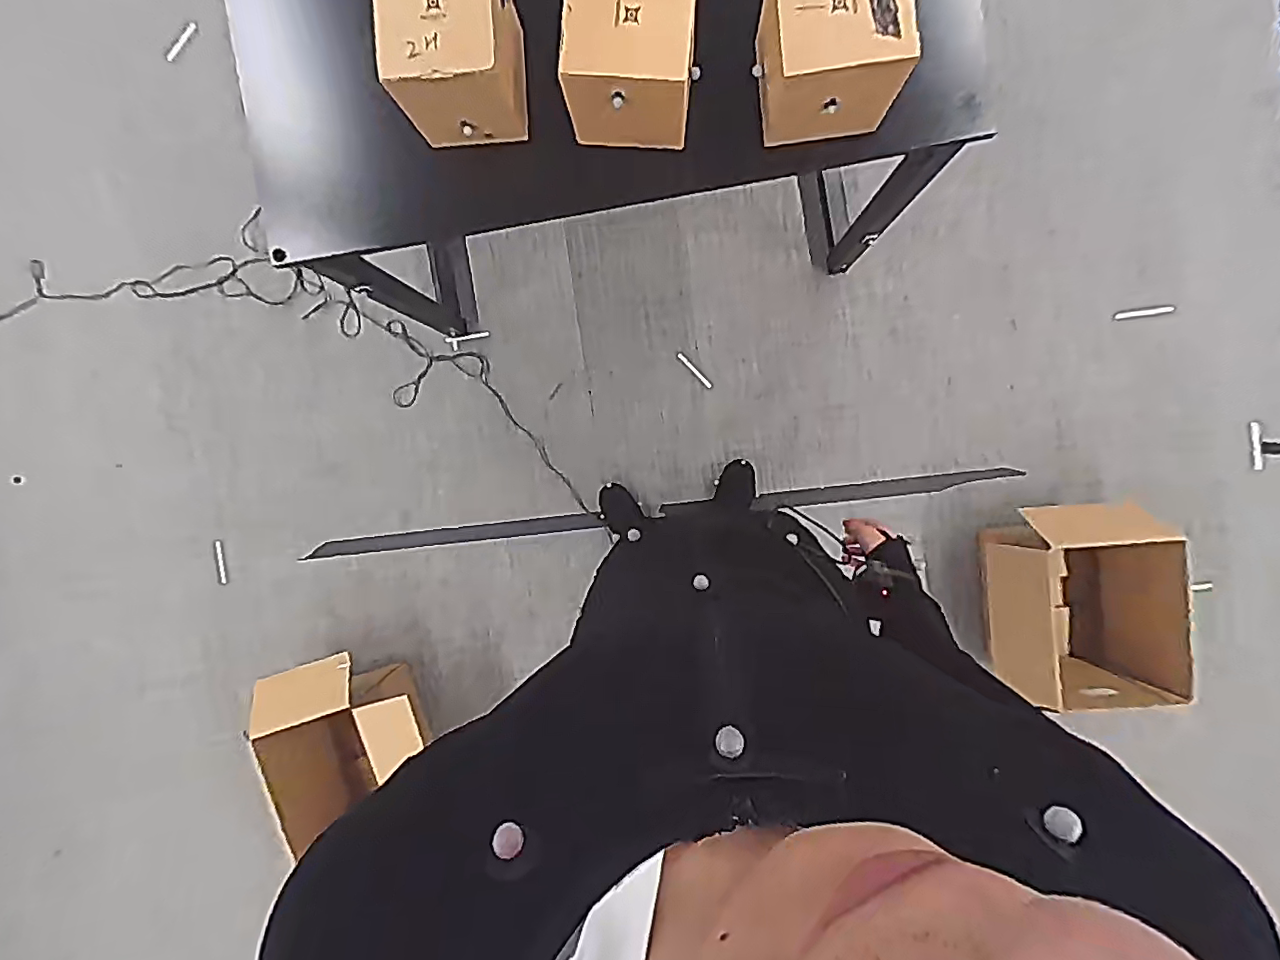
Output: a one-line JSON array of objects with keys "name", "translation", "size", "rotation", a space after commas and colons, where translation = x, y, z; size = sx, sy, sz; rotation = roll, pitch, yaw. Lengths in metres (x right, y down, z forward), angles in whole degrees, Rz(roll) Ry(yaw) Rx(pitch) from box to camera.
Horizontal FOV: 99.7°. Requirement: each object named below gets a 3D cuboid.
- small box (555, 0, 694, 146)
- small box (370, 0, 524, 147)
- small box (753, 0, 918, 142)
[{"name": "small box", "translation": [-0.015, -0.617, 0.789], "size": [0.179, 0.176, 0.168], "rotation": [5, 93, 4]}, {"name": "small box", "translation": [-0.277, -0.634, 0.804], "size": [0.168, 0.176, 0.179], "rotation": [-3, 94, 4]}, {"name": "small box", "translation": [0.265, -0.618, 0.768], "size": [0.179, 0.176, 0.168], "rotation": [-6, 92, 5]}]
